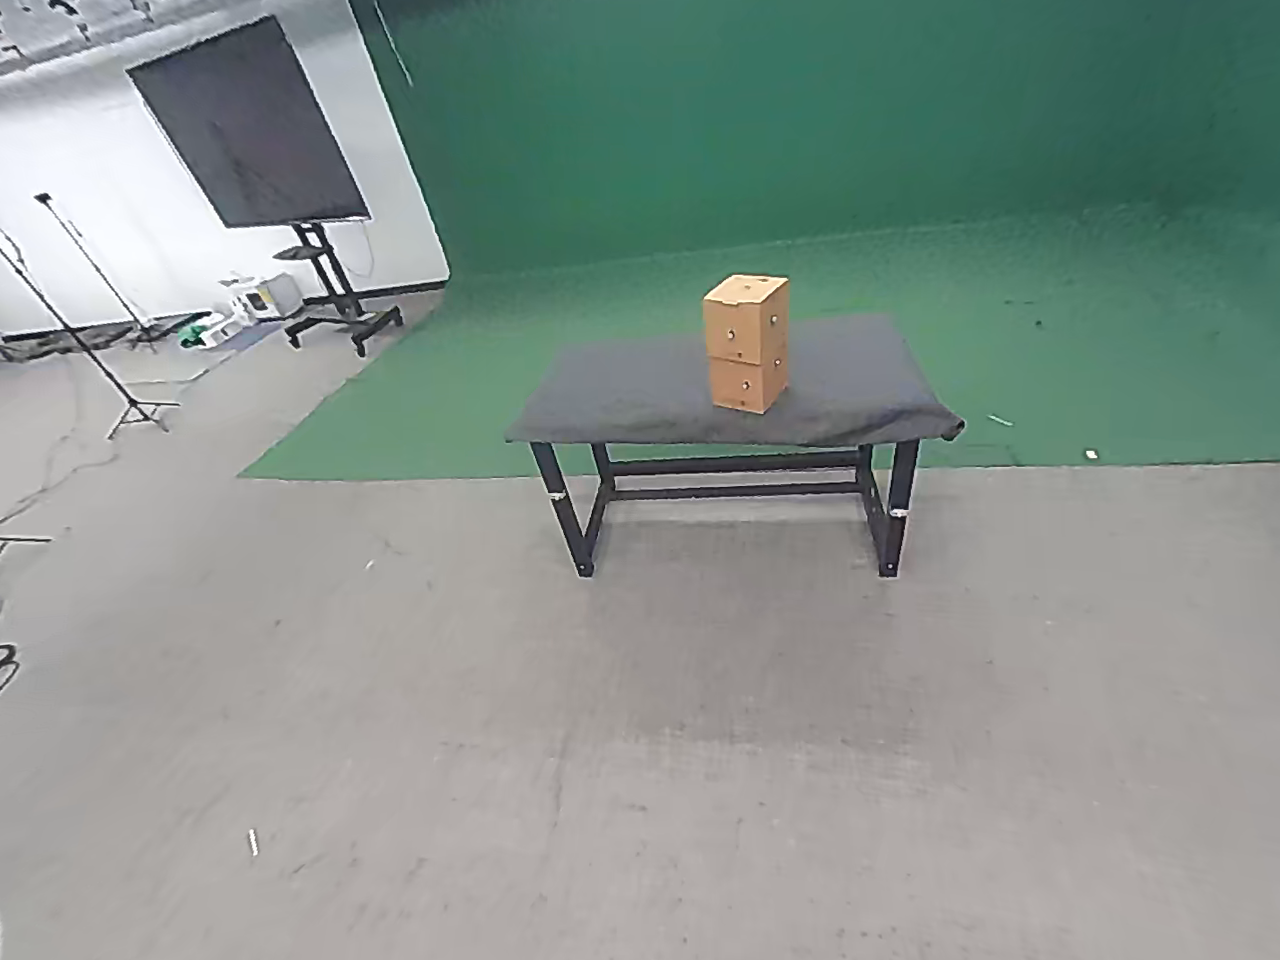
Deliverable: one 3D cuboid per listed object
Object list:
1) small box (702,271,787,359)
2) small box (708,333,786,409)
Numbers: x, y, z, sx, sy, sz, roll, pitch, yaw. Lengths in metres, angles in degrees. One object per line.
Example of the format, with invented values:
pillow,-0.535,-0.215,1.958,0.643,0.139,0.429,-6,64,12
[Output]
small box,0.288,-0.445,1.464,0.168,0.176,0.179,19,49,31
small box,0.315,-0.328,1.576,0.168,0.176,0.179,19,47,31
